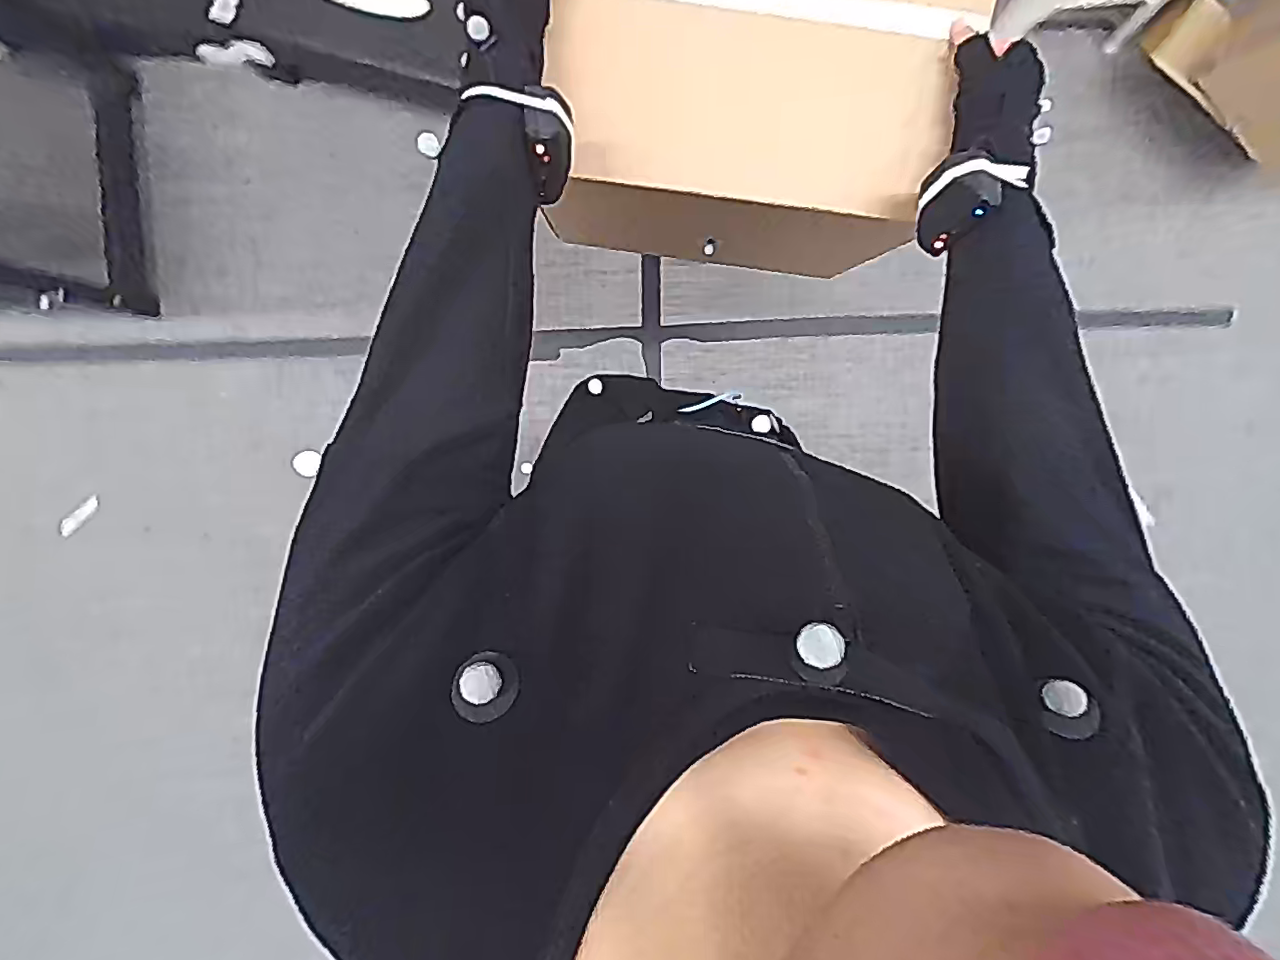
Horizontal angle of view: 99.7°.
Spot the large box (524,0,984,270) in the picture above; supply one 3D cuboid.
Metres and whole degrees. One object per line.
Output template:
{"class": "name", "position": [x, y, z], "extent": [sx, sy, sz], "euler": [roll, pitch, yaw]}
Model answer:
{"class": "large box", "position": [0.105, -0.448, 0.627], "extent": [0.408, 0.320, 0.320], "euler": [7, 101, -2]}
